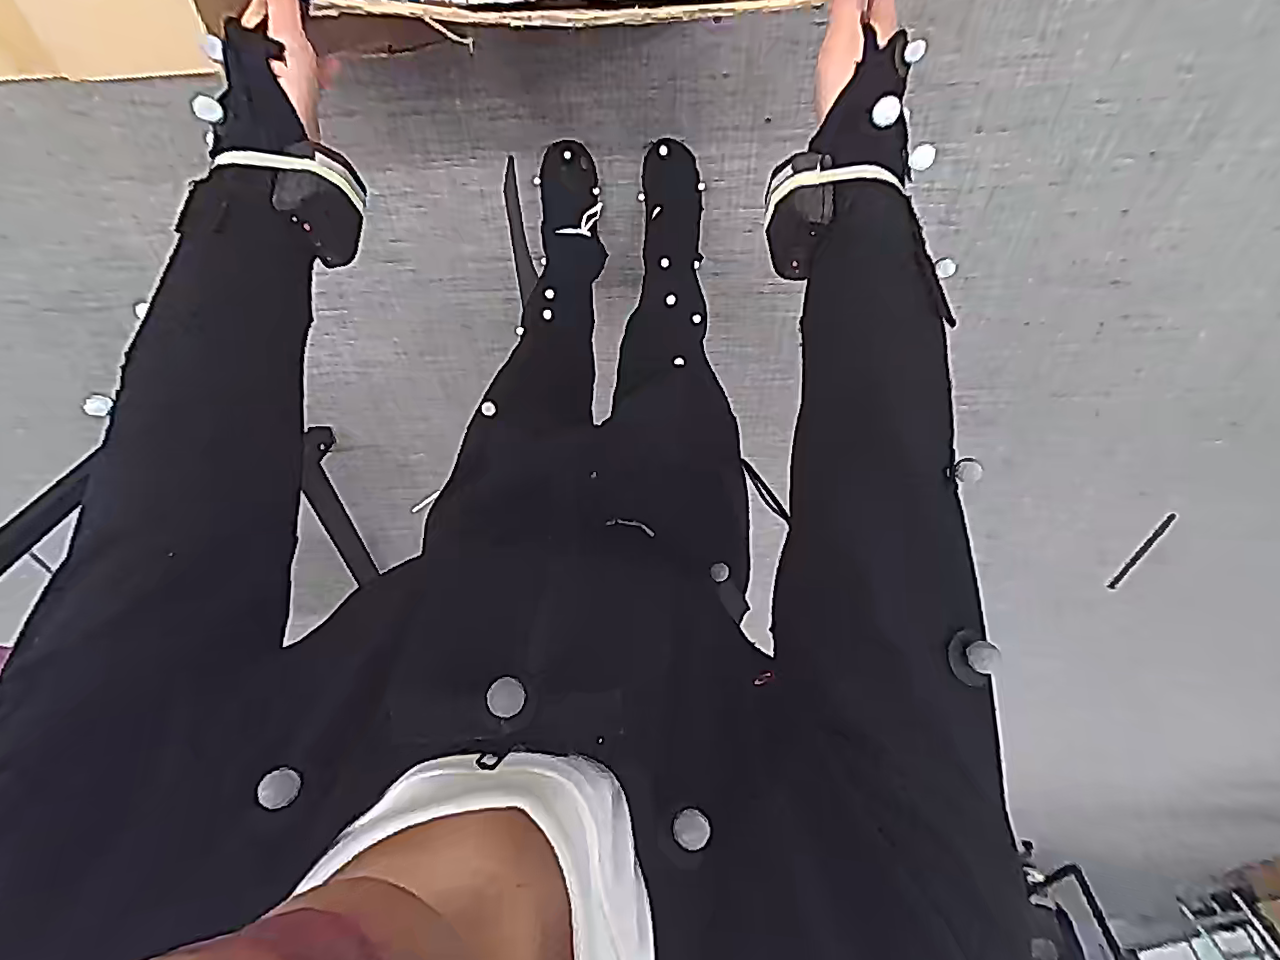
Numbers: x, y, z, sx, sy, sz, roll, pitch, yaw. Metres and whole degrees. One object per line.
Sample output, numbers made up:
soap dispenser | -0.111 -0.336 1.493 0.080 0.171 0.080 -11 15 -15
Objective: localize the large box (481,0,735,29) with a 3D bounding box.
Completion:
large box | -0.049 -0.810 0.637 0.320 0.320 0.408 -1 132 2
